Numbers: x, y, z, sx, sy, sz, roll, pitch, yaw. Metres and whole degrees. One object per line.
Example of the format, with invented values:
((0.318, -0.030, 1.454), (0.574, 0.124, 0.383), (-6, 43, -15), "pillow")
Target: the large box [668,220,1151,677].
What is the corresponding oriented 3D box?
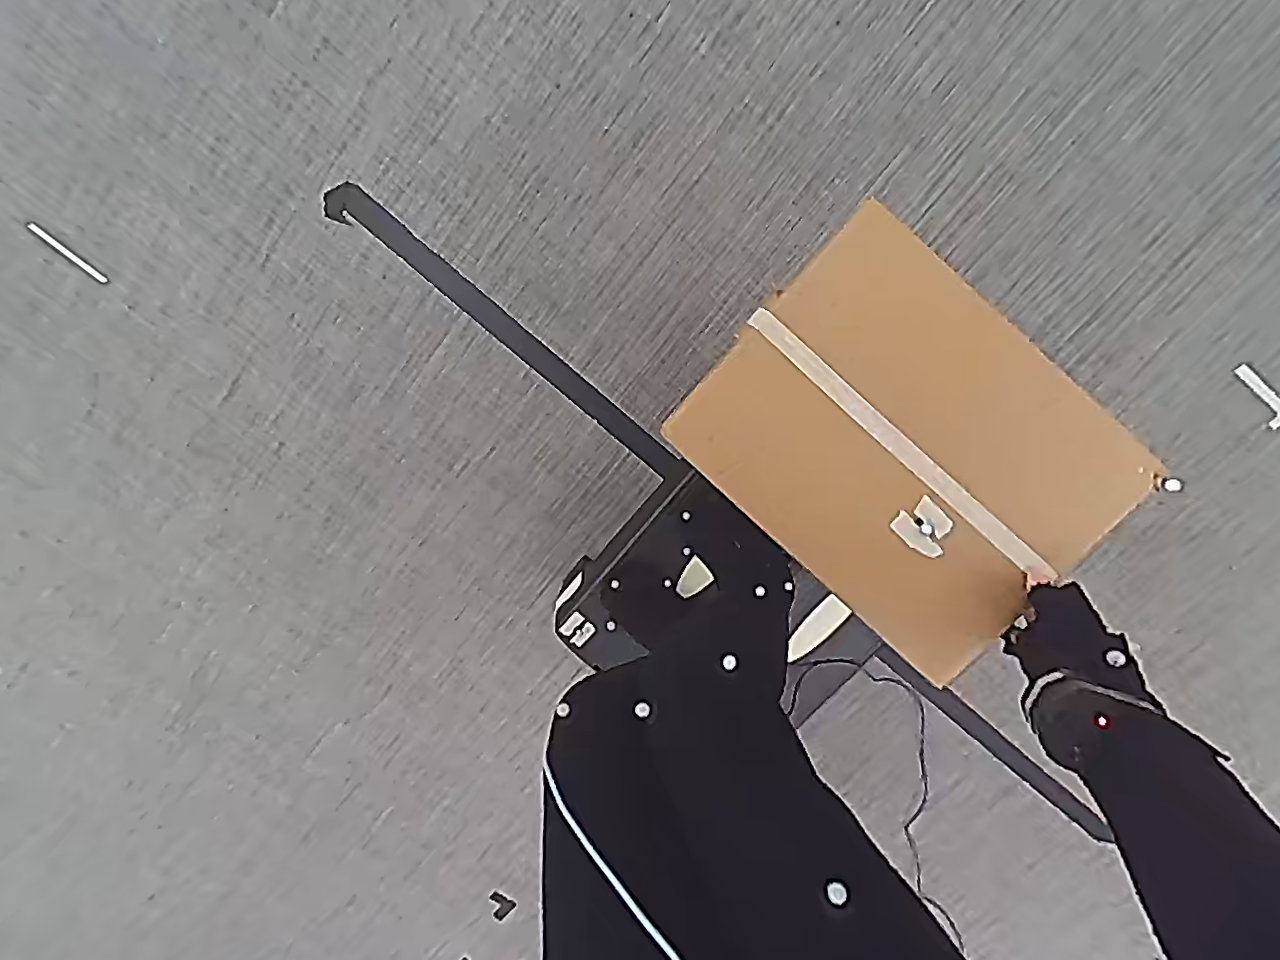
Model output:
((0.282, -0.041, 0.711), (0.408, 0.320, 0.320), (42, 98, -1), "large box")
